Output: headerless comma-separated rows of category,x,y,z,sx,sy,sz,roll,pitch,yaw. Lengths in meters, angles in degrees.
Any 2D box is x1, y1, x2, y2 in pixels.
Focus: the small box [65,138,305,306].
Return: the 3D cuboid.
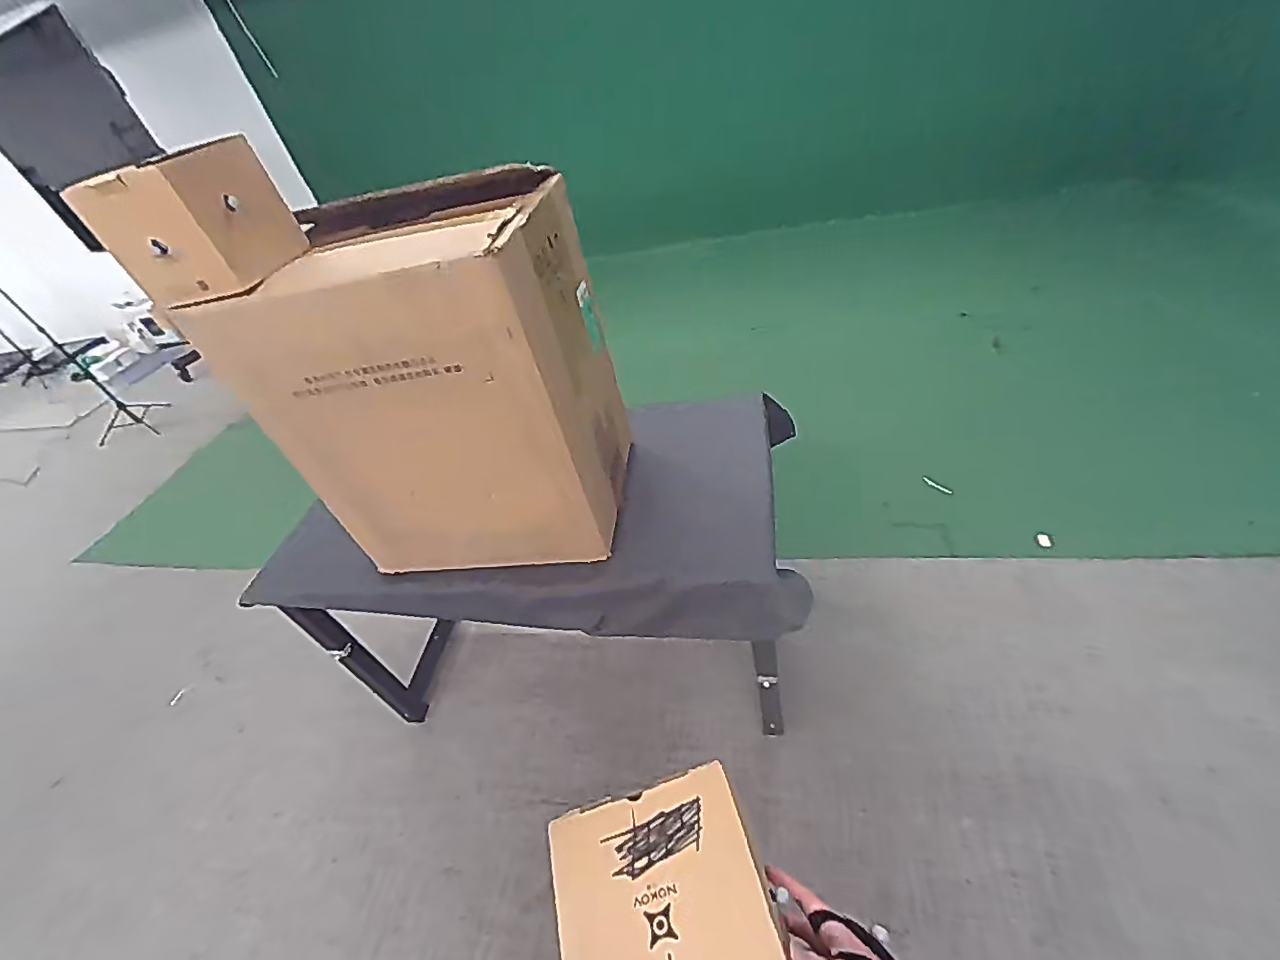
small box,-0.645,-0.370,0.797,0.168,0.176,0.179,-6,43,14
